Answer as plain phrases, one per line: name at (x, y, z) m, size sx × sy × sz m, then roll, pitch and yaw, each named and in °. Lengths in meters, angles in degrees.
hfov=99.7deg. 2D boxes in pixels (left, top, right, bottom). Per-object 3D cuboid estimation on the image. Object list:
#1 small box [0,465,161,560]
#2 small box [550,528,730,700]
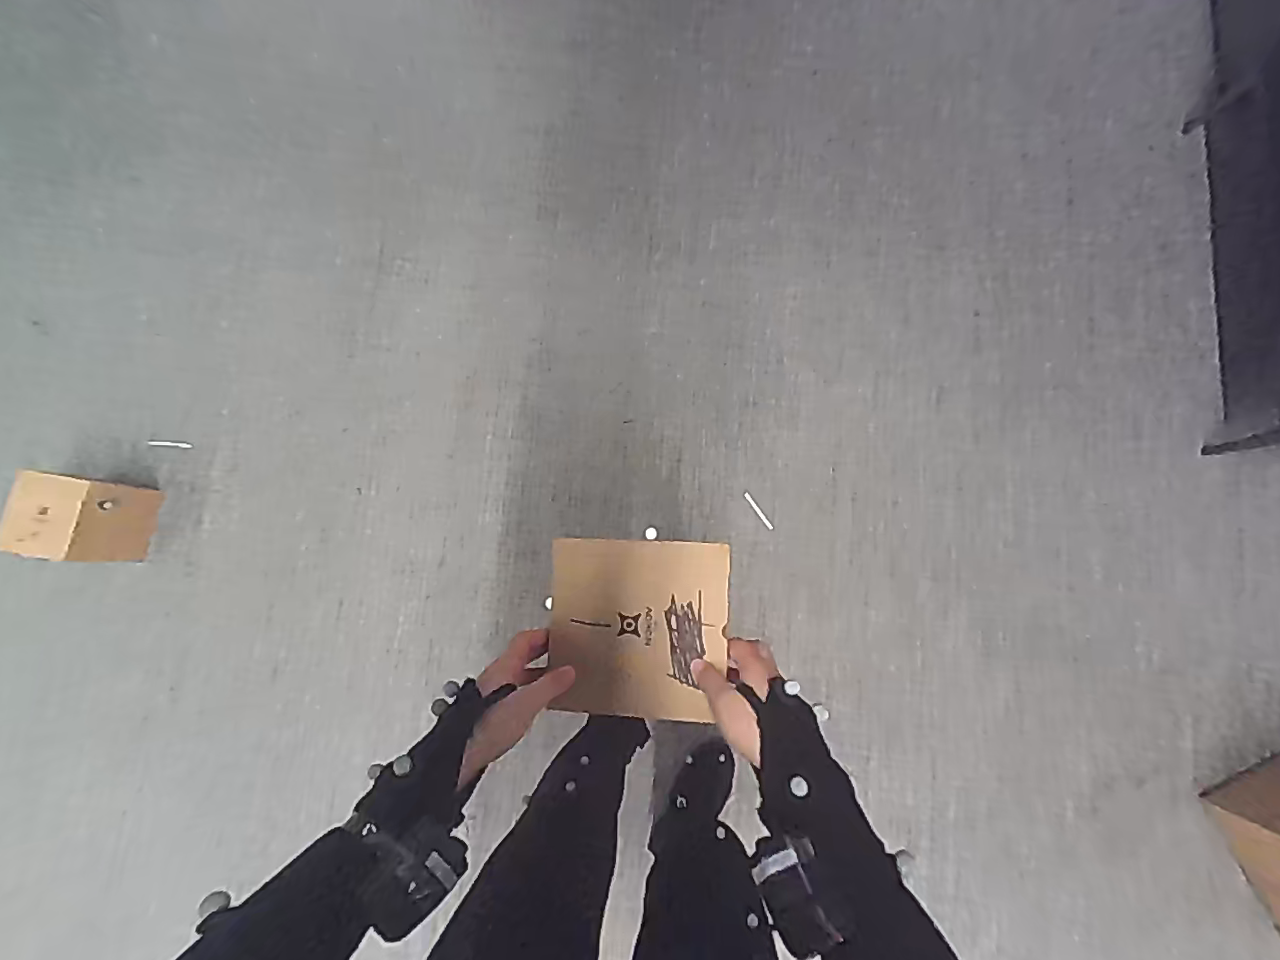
small box at (-1.231, 0.078, 1.204) m, size 0.168 × 0.176 × 0.179 m, roll 10°, pitch 82°, yaw 4°
small box at (-0.003, 0.144, 0.624) m, size 0.179 × 0.176 × 0.168 m, roll 4°, pitch 82°, yaw -2°
